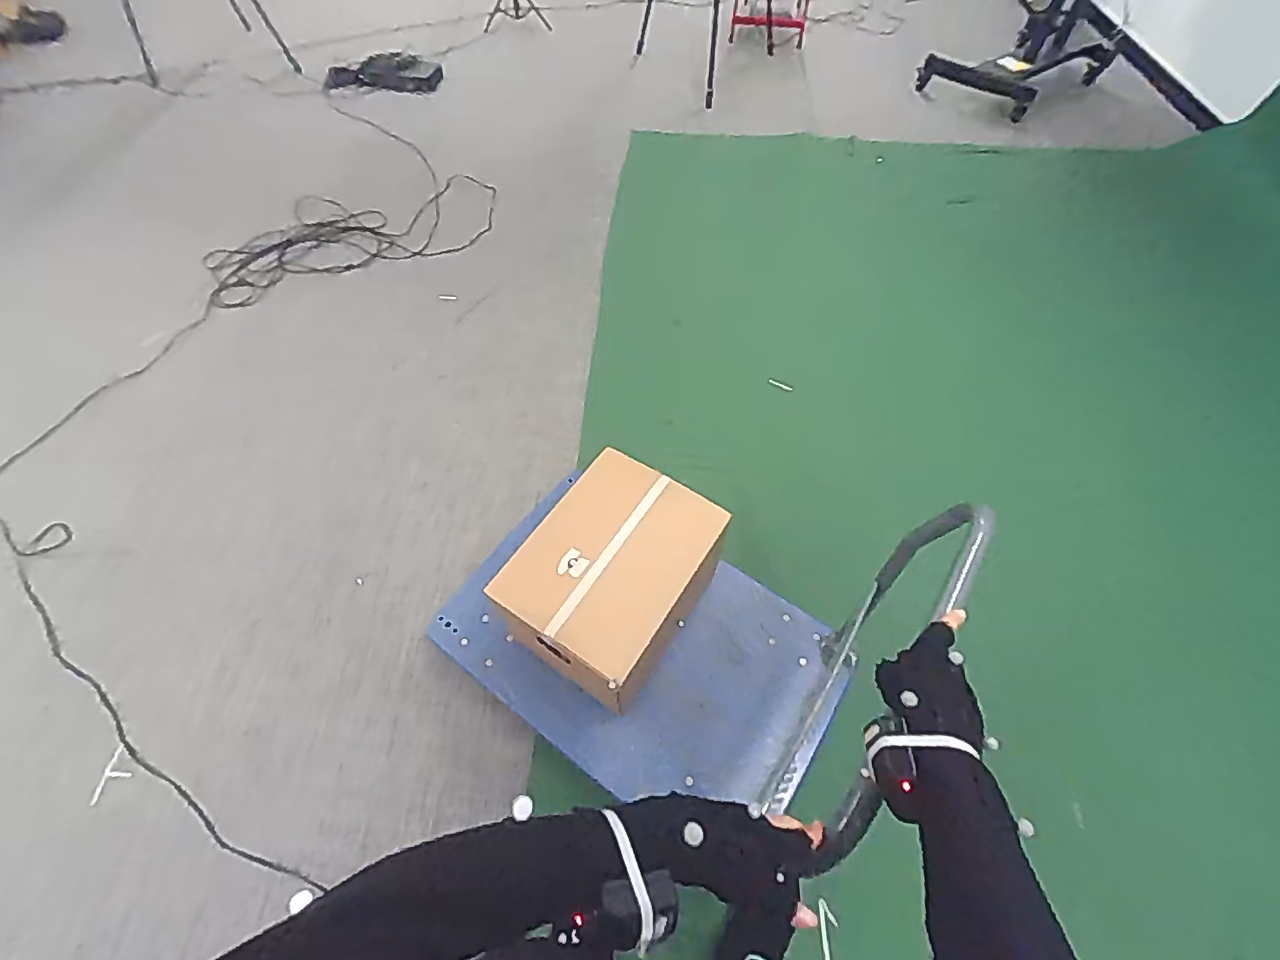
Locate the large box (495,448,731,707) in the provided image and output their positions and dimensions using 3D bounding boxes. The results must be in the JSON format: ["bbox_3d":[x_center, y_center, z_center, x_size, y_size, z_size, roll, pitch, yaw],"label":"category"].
[{"bbox_3d":[-0.042,0.215,1.186,0.320,0.320,0.408,29,63,18],"label":"large box"}]
